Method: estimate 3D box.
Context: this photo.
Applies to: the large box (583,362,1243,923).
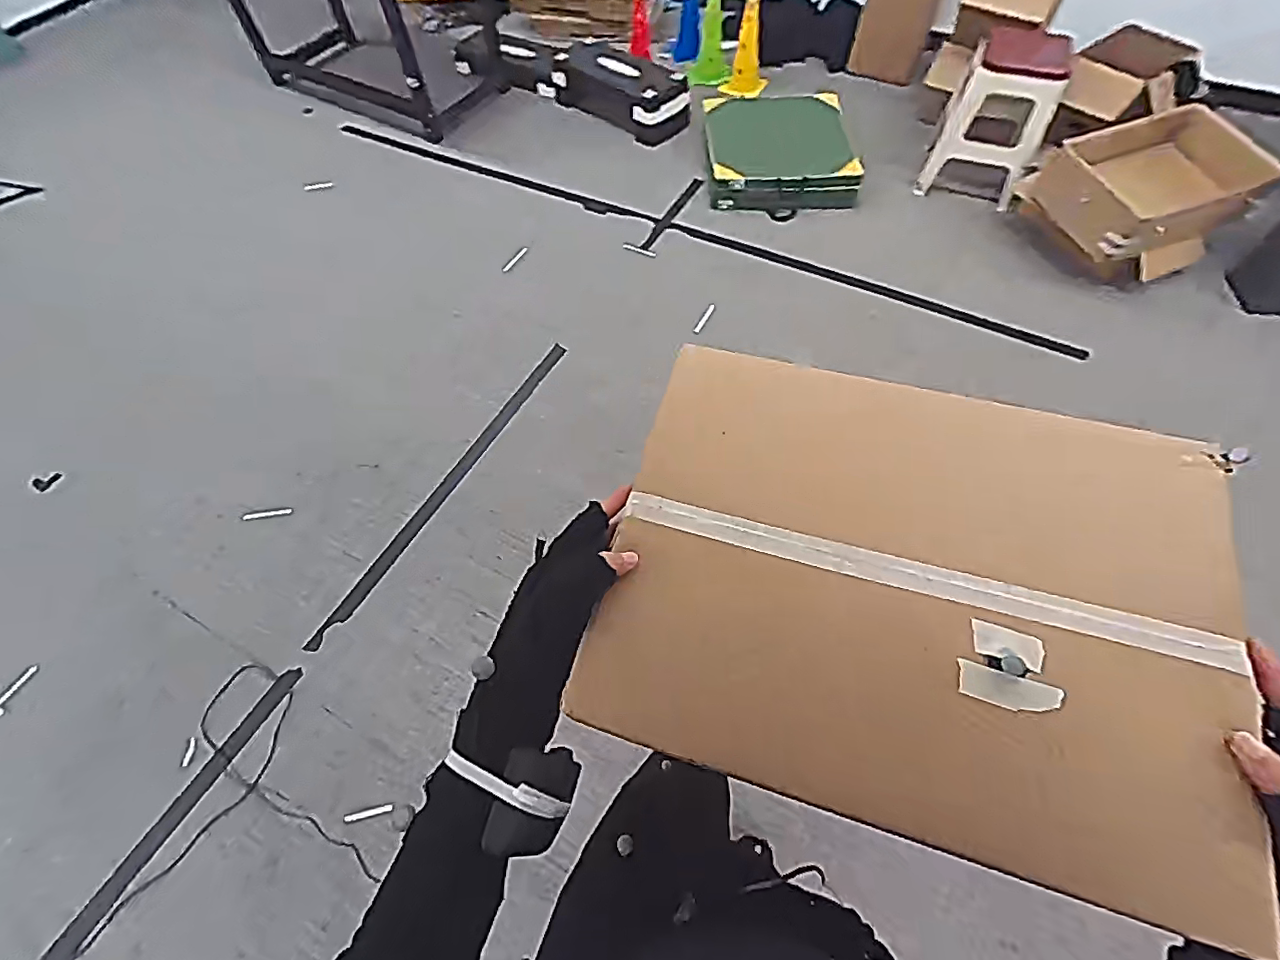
[{"bbox_3d":[0.201,0.130,0.528,0.408,0.320,0.320,14,69,12],"label":"large box"}]
